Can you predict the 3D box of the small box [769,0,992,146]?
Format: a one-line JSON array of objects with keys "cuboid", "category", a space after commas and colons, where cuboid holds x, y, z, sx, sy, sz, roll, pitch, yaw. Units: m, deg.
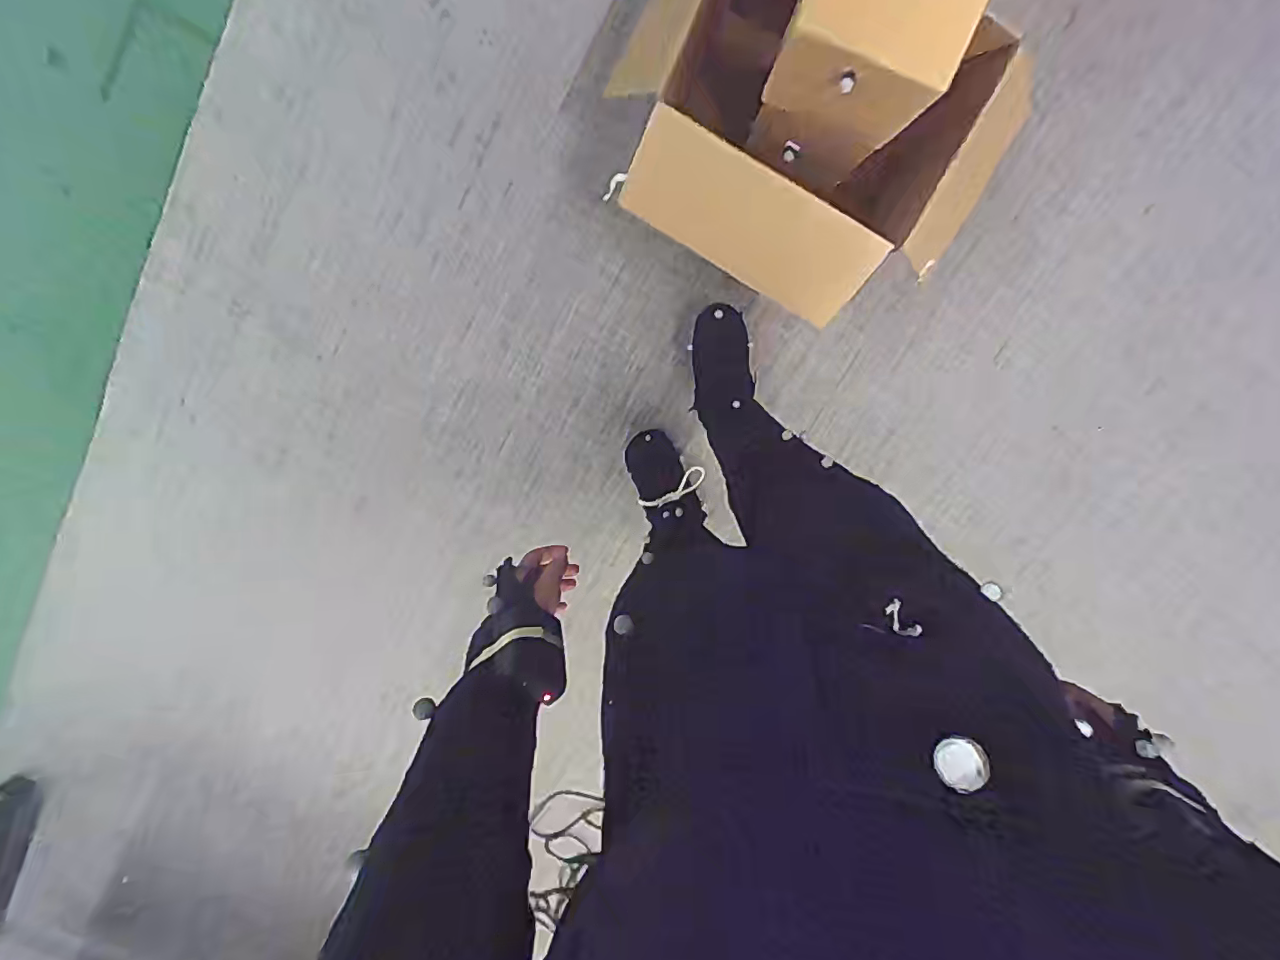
[{"cuboid": [0.274, -0.522, 0.627, 0.179, 0.176, 0.168, 21, 103, -3], "category": "small box"}]
